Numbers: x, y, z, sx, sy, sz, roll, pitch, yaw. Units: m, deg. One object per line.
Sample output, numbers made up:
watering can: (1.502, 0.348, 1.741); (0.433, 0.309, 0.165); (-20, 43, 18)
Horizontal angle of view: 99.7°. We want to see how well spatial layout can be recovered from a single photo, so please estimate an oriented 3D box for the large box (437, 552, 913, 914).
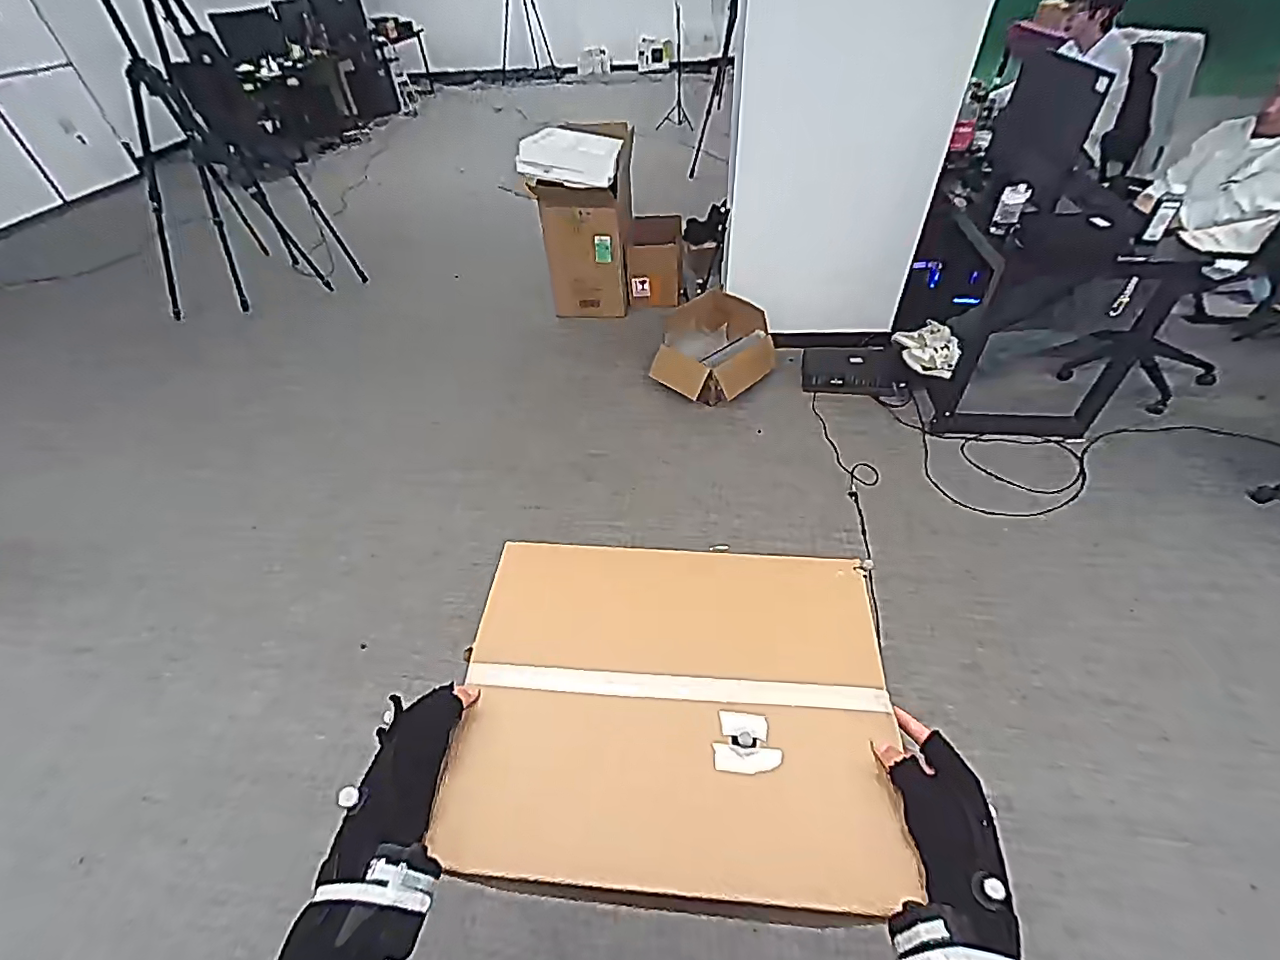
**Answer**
large box: (0.036, 0.306, 0.652); (0.408, 0.320, 0.320); (3, 51, 4)
